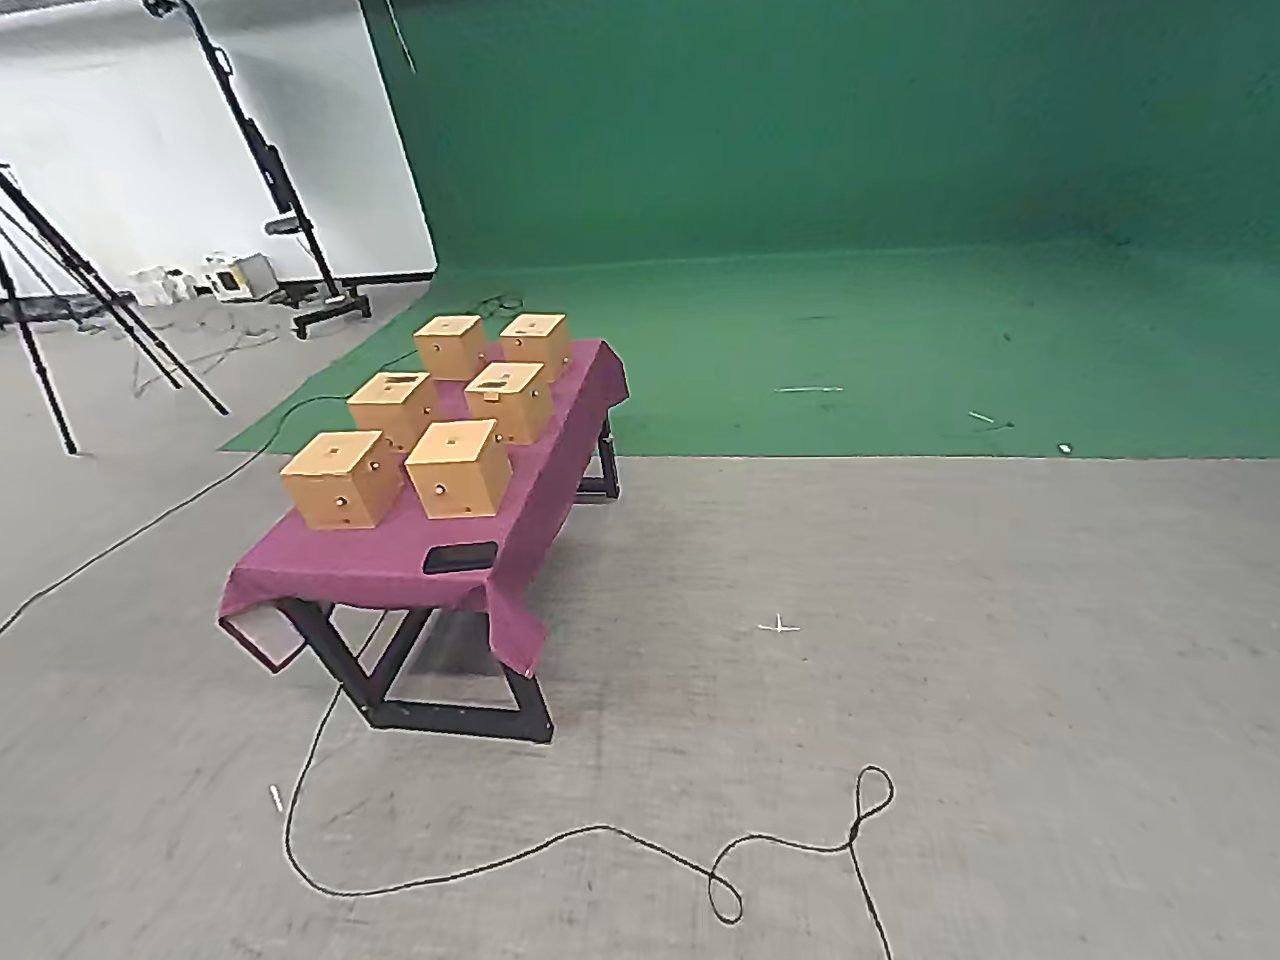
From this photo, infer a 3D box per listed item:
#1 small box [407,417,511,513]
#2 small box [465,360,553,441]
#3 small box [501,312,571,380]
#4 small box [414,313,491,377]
[{"bbox_3d":[-0.420,-0.032,1.293,0.168,0.176,0.179,-3,37,5],"label":"small box"},{"bbox_3d":[-0.361,-0.225,1.532,0.168,0.176,0.179,5,38,14],"label":"small box"},{"bbox_3d":[-0.340,-0.454,1.824,0.168,0.176,0.179,5,39,15],"label":"small box"},{"bbox_3d":[-0.647,-0.471,1.889,0.179,0.176,0.168,4,39,12],"label":"small box"}]
